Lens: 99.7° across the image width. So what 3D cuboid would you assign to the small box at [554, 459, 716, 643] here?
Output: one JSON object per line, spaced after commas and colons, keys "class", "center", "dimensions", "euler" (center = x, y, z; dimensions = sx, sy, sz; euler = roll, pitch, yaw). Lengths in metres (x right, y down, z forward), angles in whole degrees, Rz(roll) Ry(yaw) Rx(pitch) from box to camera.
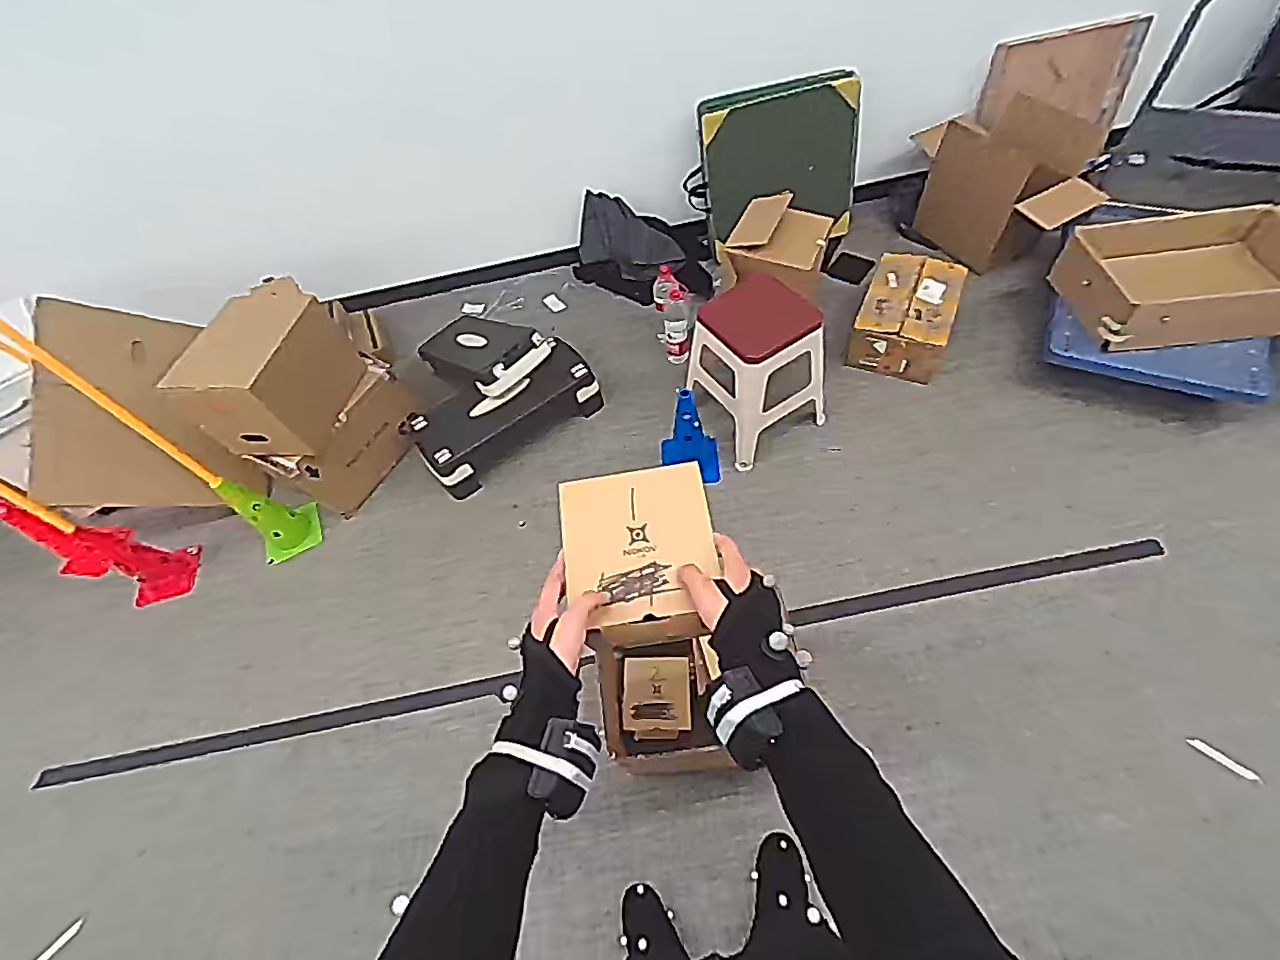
{"class": "small box", "center": [-0.003, 0.097, 0.662], "dimensions": [0.168, 0.176, 0.179], "euler": [-8, 65, 1]}
